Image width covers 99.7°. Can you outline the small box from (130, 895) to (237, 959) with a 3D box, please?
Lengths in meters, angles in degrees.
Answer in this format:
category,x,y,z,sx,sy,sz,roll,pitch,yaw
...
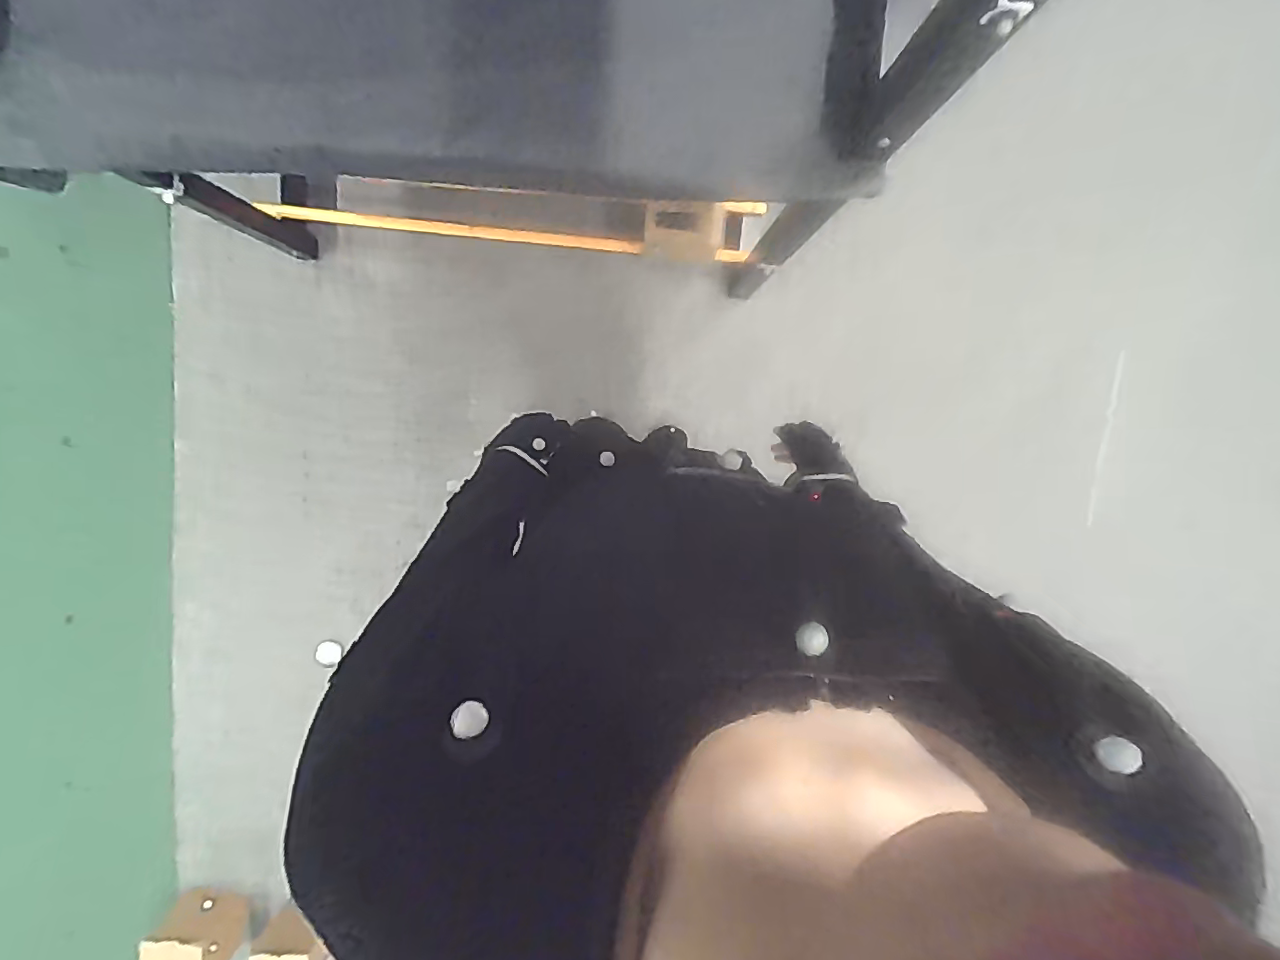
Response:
category,x,y,z,sx,sy,sz,roll,pitch,yaw
small box,-1.265,1.312,1.507,0.168,0.176,0.179,5,96,-2

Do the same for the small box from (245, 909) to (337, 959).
category,x,y,z,sx,sy,sz,roll,pitch,yaw
small box,-0.975,1.347,1.514,0.168,0.176,0.179,2,97,-1
